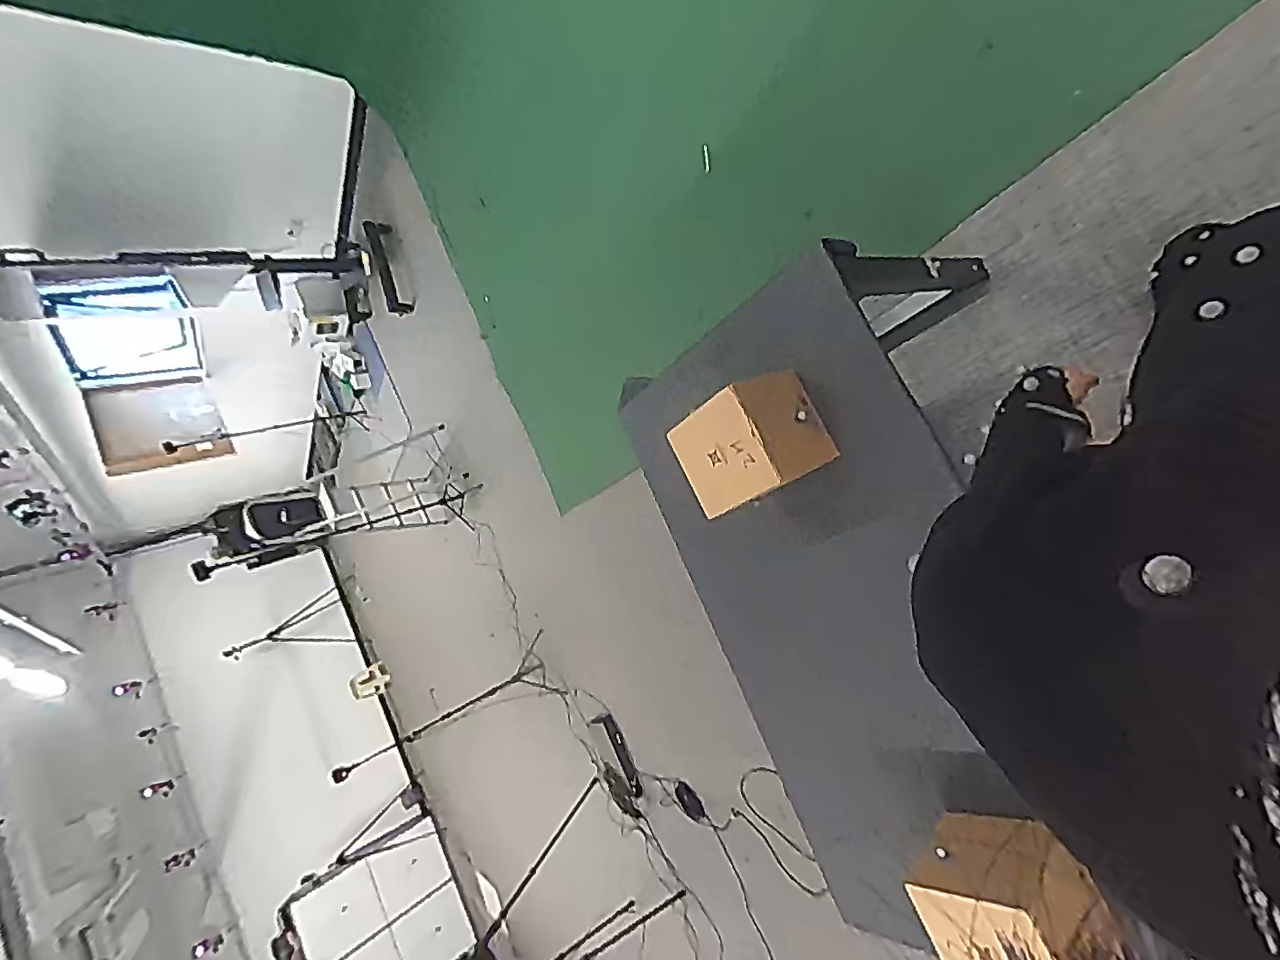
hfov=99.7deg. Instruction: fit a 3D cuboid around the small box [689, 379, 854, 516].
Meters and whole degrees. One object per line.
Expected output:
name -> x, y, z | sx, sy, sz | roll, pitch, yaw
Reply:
small box -> 0.222, -0.057, 0.916 | 0.179, 0.176, 0.168 | -33, 78, 48
